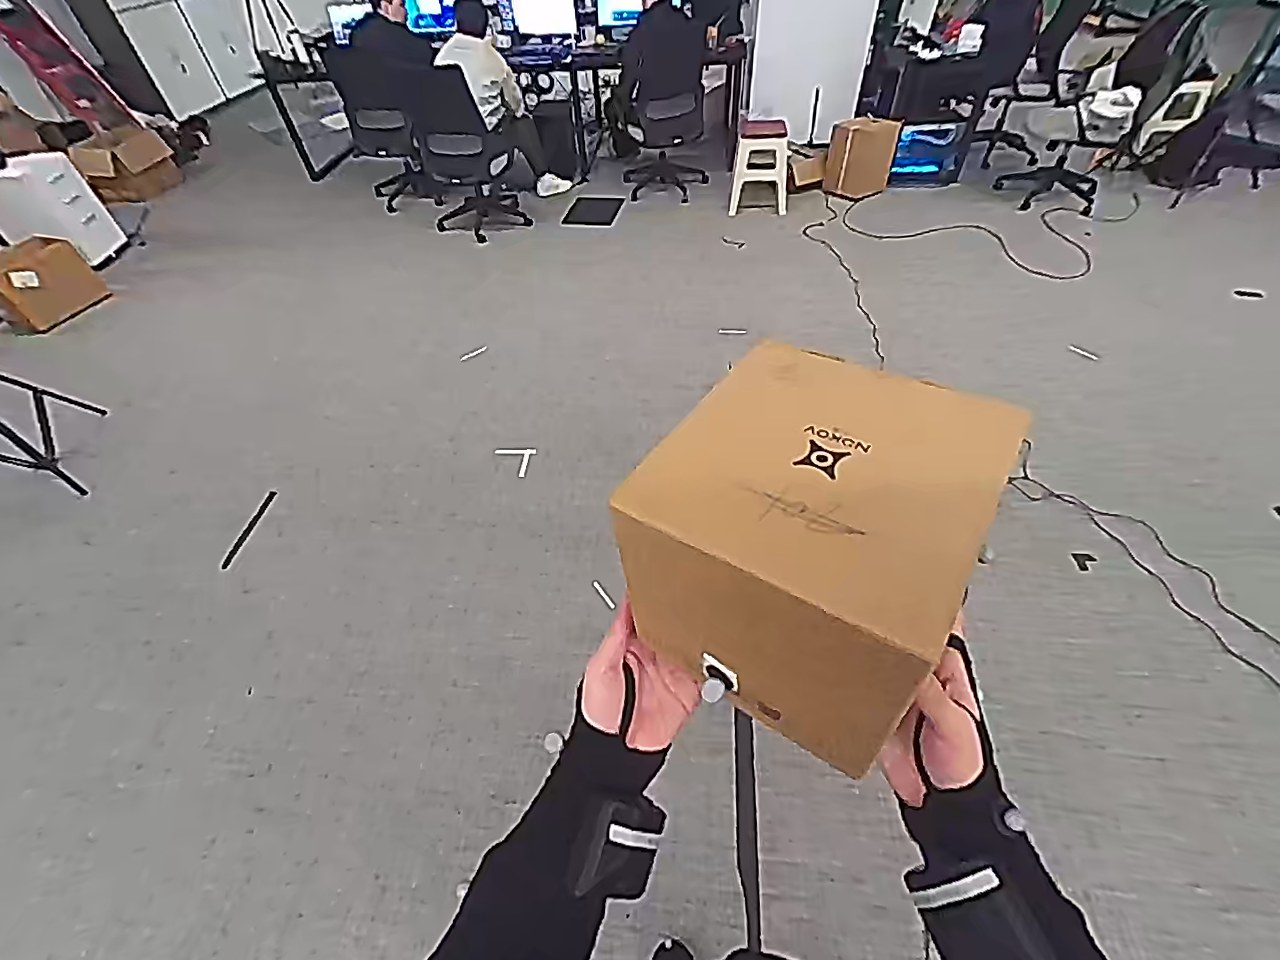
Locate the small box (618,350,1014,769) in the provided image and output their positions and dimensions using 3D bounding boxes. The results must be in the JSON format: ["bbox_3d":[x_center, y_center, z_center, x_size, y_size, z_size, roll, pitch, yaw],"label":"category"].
[{"bbox_3d":[0.108,0.047,0.357,0.168,0.176,0.179,24,55,28],"label":"small box"}]
